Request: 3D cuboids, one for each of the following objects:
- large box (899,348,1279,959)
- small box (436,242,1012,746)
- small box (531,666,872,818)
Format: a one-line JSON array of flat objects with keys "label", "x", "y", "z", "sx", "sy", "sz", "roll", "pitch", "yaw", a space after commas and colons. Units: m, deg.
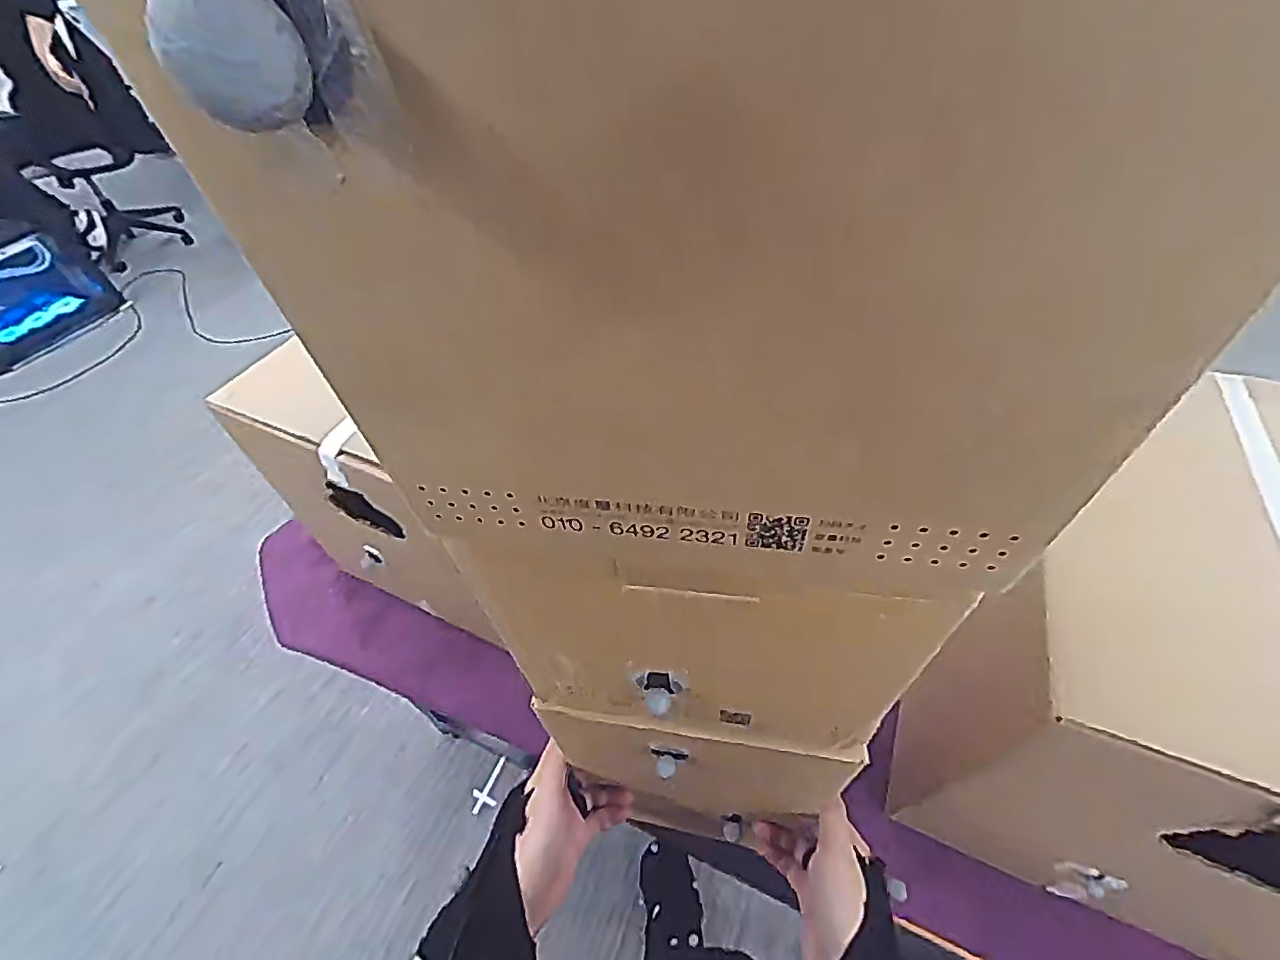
[{"label": "large box", "x": 0.459, "y": 0.142, "z": 0.499, "sx": 0.320, "sy": 0.320, "sz": 0.408, "roll": 18, "pitch": 51, "yaw": 16}, {"label": "small box", "x": 0.035, "y": 0.006, "z": 0.264, "sx": 0.168, "sy": 0.176, "sz": 0.179, "roll": 4, "pitch": 50, "yaw": 9}, {"label": "small box", "x": 0.046, "y": 0.119, "z": 0.381, "sx": 0.179, "sy": 0.176, "sz": 0.168, "roll": 5, "pitch": 50, "yaw": 9}]
